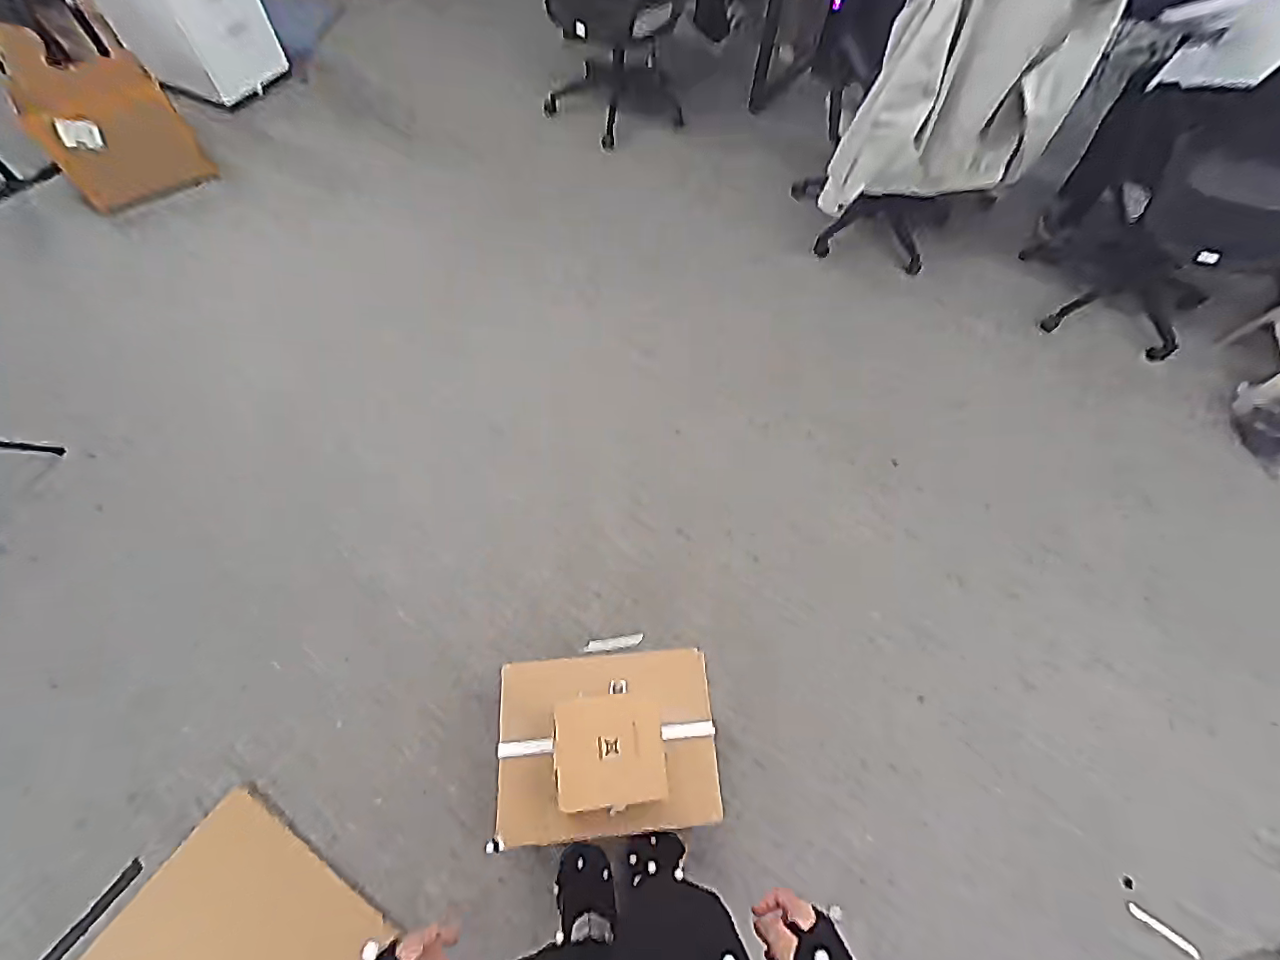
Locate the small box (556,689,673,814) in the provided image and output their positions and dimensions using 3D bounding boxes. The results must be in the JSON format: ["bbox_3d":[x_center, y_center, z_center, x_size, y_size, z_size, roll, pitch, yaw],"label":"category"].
[{"bbox_3d":[-0.046,0.469,0.934,0.179,0.176,0.168,-6,63,-6],"label":"small box"}]
